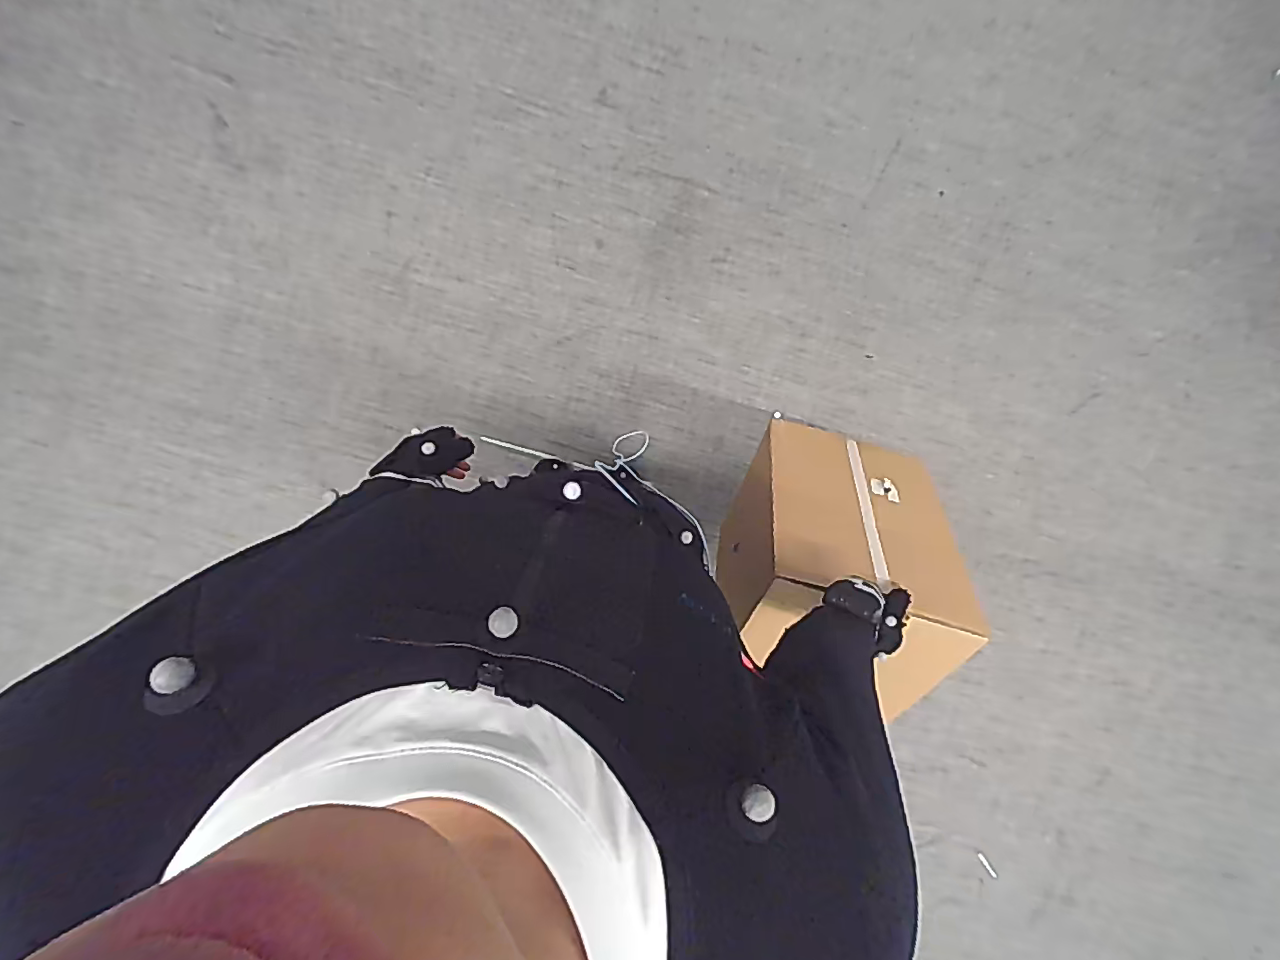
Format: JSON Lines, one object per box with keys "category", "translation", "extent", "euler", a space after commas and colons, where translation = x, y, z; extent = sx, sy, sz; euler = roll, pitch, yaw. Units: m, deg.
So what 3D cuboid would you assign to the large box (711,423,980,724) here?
{"category": "large box", "translation": [0.329, 0.163, 0.997], "extent": [0.320, 0.408, 0.320], "euler": [17, 130, -2]}
